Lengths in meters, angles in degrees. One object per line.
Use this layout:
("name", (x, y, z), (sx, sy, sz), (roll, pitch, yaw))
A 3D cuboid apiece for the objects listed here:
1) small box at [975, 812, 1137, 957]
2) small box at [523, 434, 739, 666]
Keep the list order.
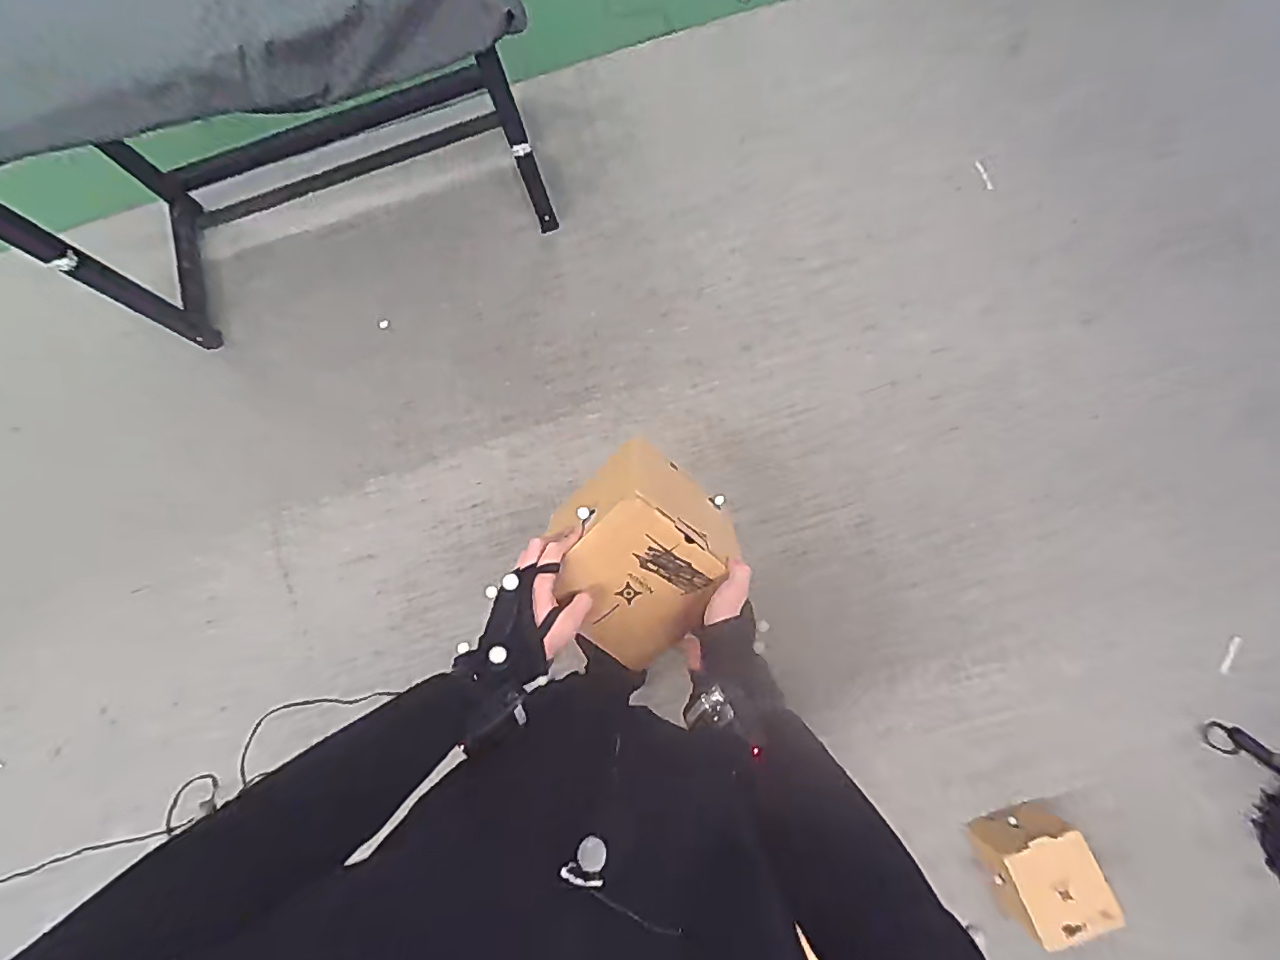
("small box", (0.841, 0.817, 1.118), (0.168, 0.176, 0.179), (-21, 74, 1))
("small box", (-0.010, 0.074, 0.644), (0.168, 0.176, 0.179), (39, 111, -15))
